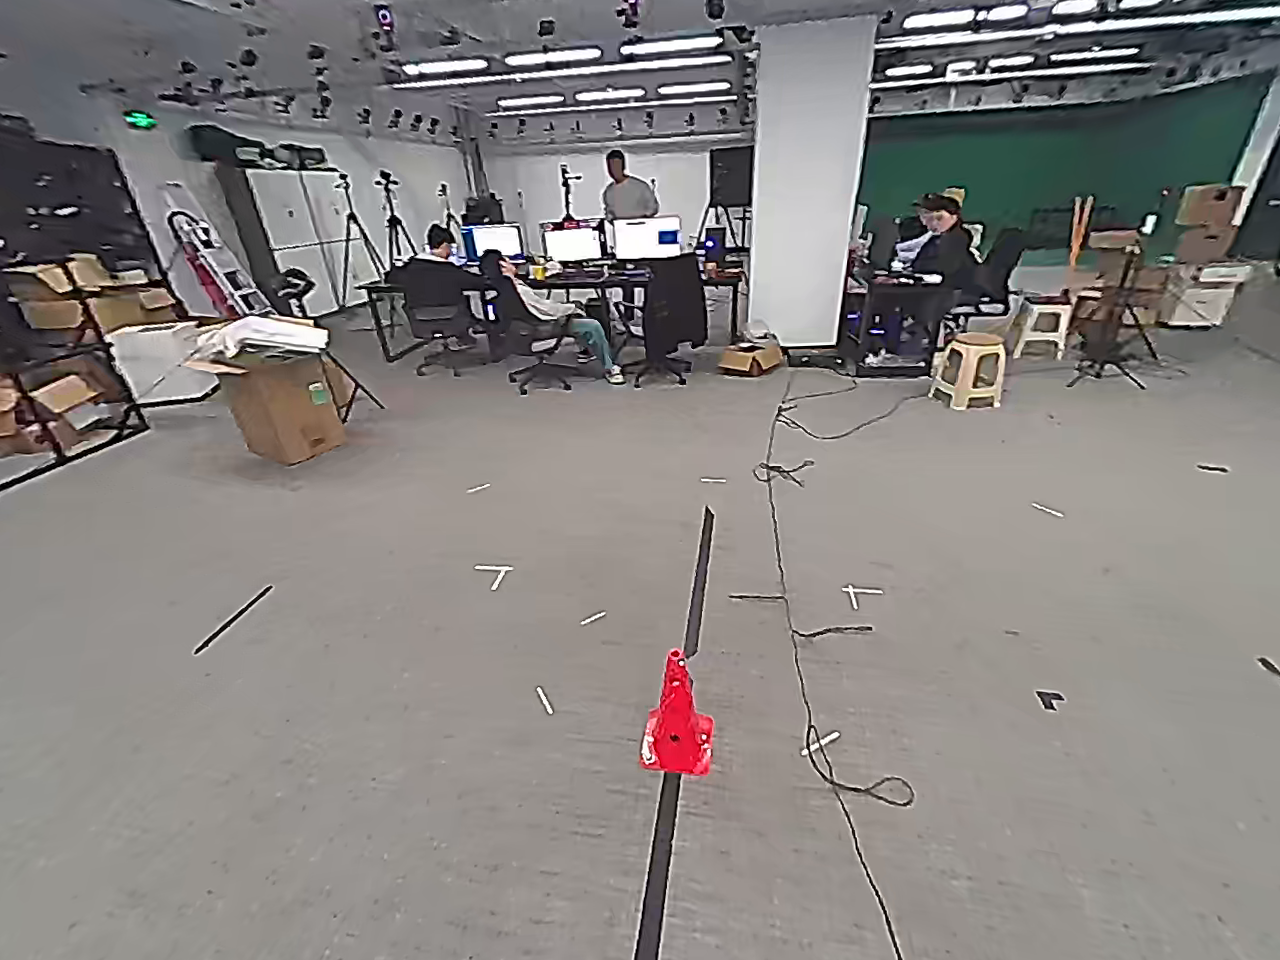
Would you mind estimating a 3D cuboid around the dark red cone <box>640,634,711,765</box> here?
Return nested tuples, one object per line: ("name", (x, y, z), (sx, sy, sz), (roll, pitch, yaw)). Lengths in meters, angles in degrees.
("dark red cone", (0.103, 0.595, 1.517), (0.201, 0.394, 0.202), (3, 28, 9))
